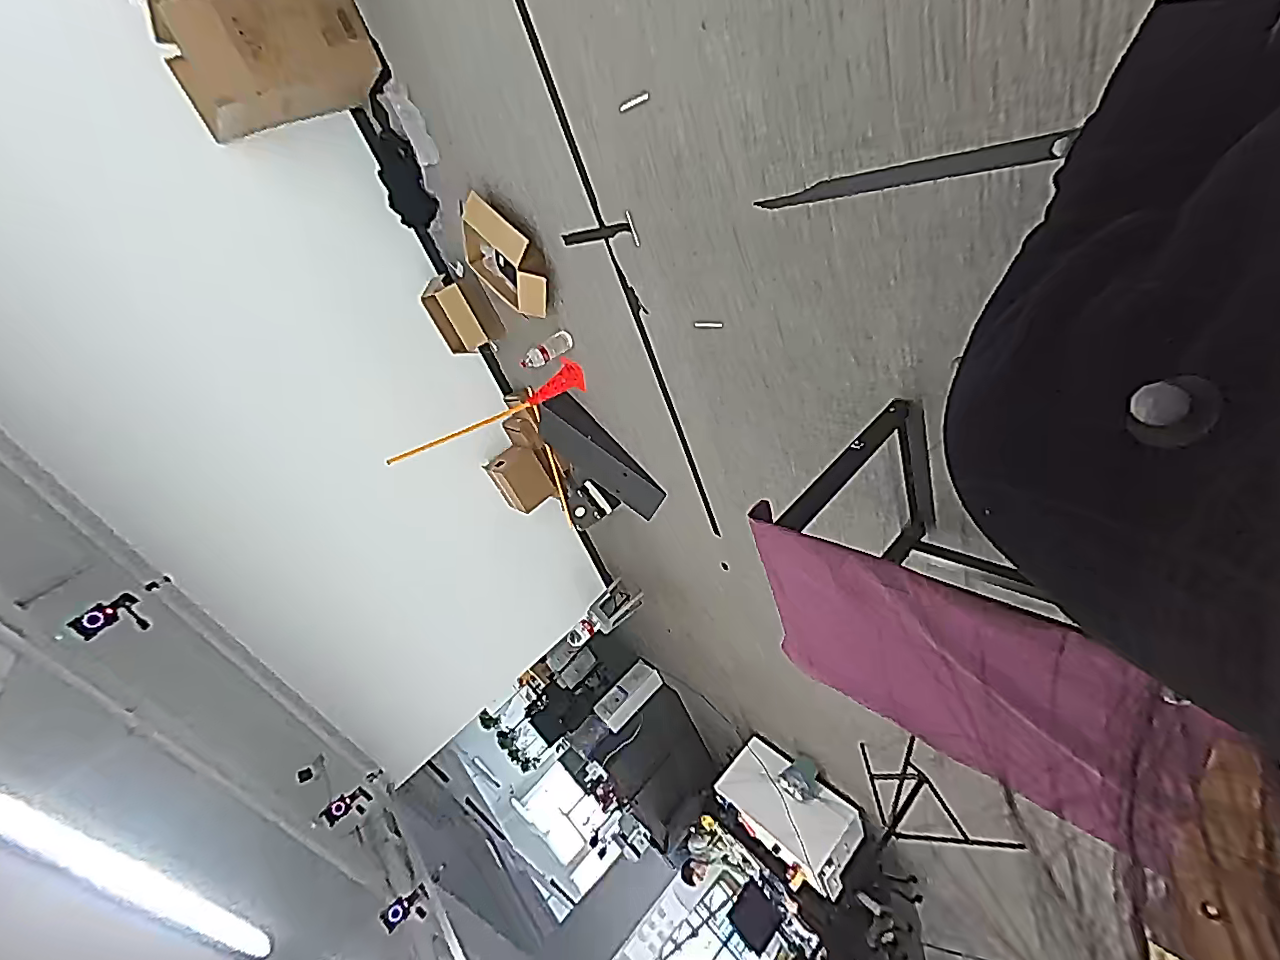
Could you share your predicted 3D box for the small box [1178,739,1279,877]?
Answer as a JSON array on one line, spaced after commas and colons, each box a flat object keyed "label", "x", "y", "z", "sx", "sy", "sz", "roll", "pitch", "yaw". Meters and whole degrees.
[{"label": "small box", "x": 0.906, "y": 0.521, "z": 0.776, "sx": 0.168, "sy": 0.176, "sz": 0.179, "roll": 16, "pitch": 138, "yaw": 50}]

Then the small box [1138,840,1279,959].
[{"label": "small box", "x": 0.794, "y": 0.616, "z": 0.708, "sx": 0.179, "sy": 0.176, "sz": 0.168, "roll": 14, "pitch": 139, "yaw": 51}]
